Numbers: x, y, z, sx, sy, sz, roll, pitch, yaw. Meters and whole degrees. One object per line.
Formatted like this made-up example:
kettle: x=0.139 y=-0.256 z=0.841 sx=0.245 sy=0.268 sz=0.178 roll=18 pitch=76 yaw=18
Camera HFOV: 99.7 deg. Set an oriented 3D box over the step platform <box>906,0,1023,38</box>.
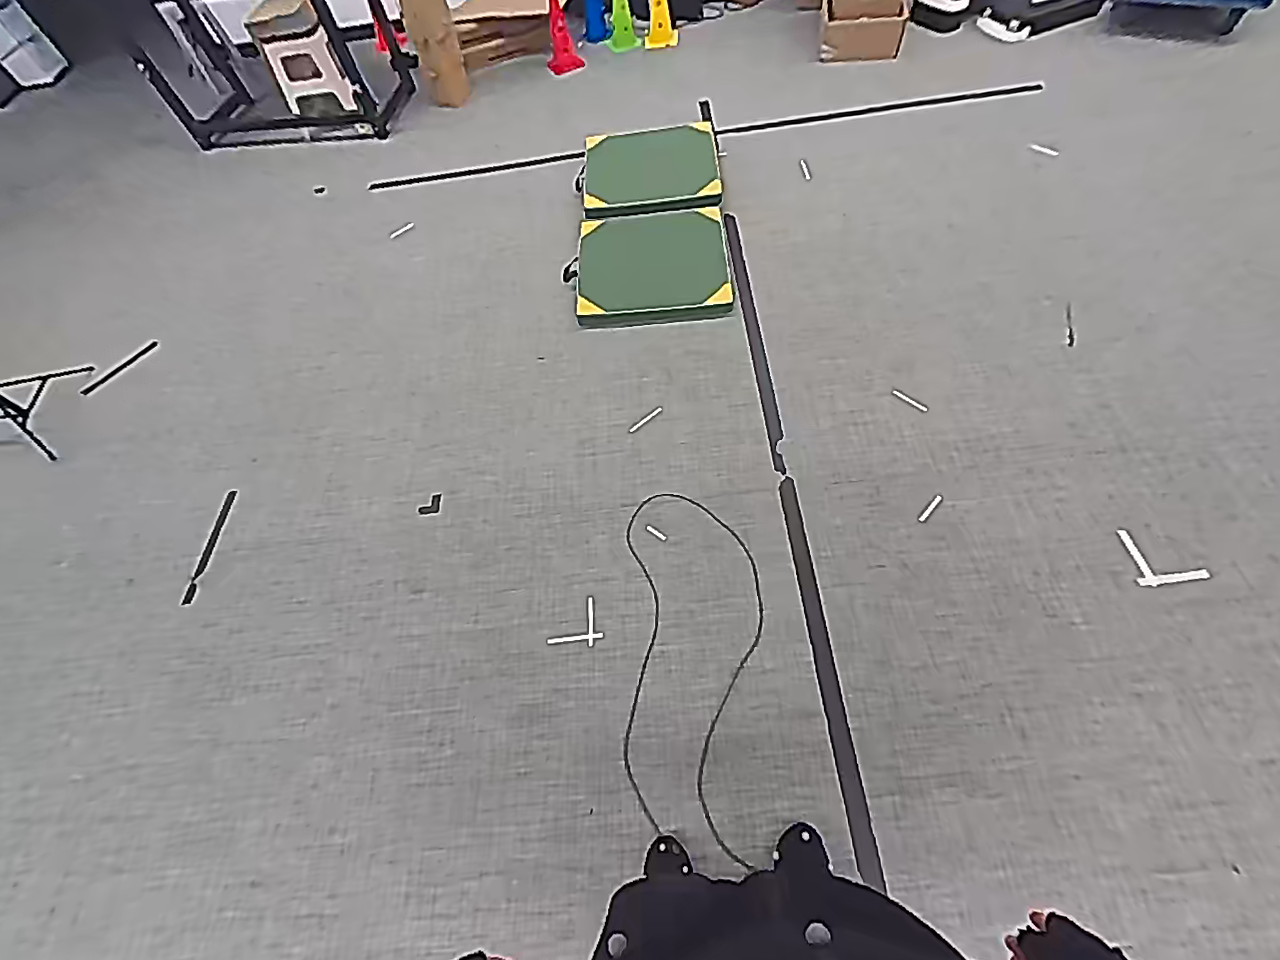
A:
step platform: x=1.849 y=-2.727 z=3.018 sx=0.684 sy=0.204 sz=0.286 roll=-31 pitch=61 yaw=-11
